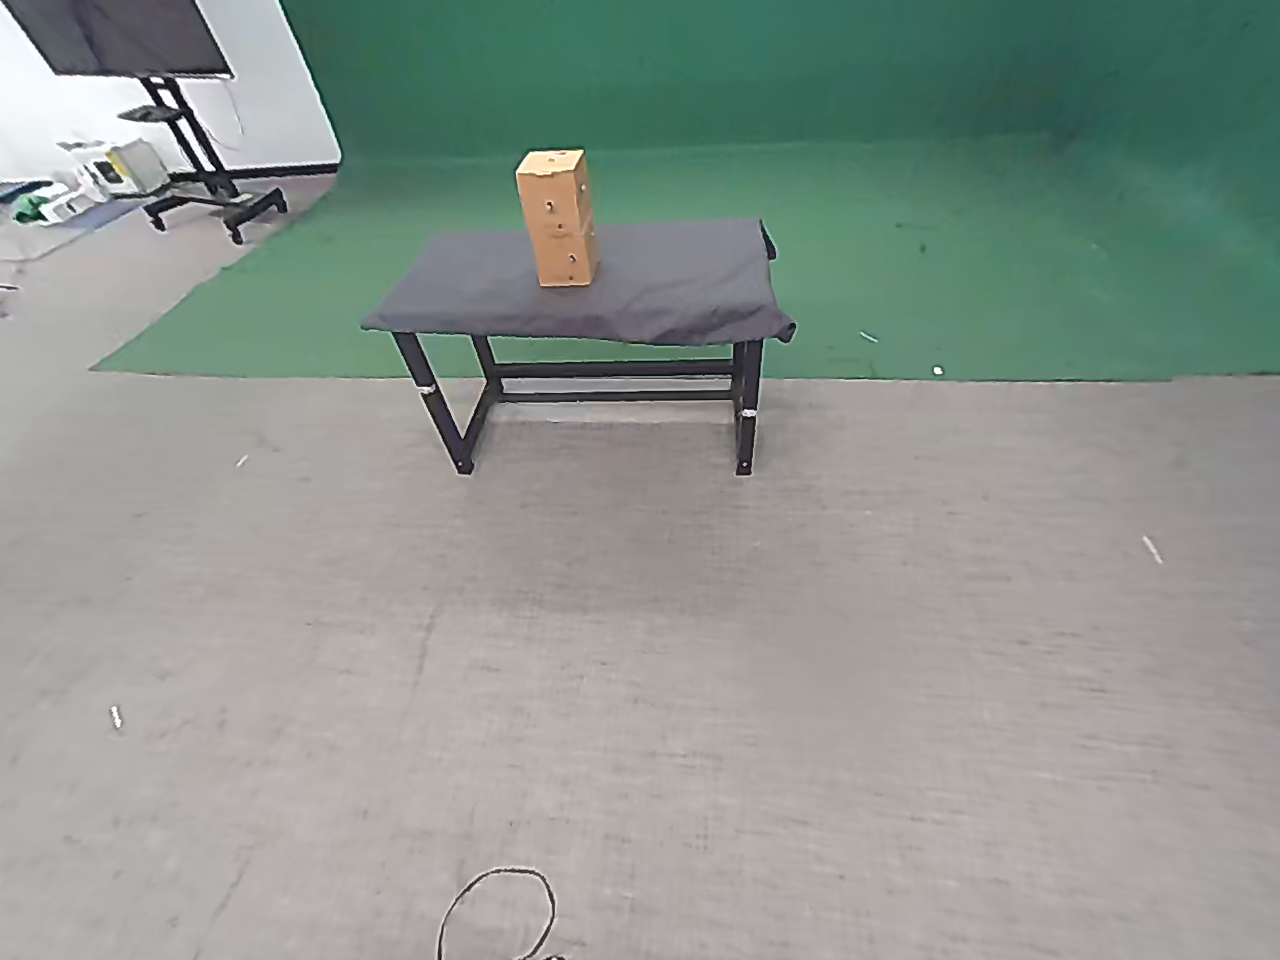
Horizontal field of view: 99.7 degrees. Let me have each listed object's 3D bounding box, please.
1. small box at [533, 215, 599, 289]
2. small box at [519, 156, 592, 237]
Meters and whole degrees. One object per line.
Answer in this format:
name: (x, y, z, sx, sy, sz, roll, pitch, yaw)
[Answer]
small box: (-0.227, -0.719, 1.714, 0.168, 0.176, 0.179, 1, 46, 5)
small box: (-0.241, -0.834, 1.598, 0.168, 0.176, 0.179, 2, 49, 6)
